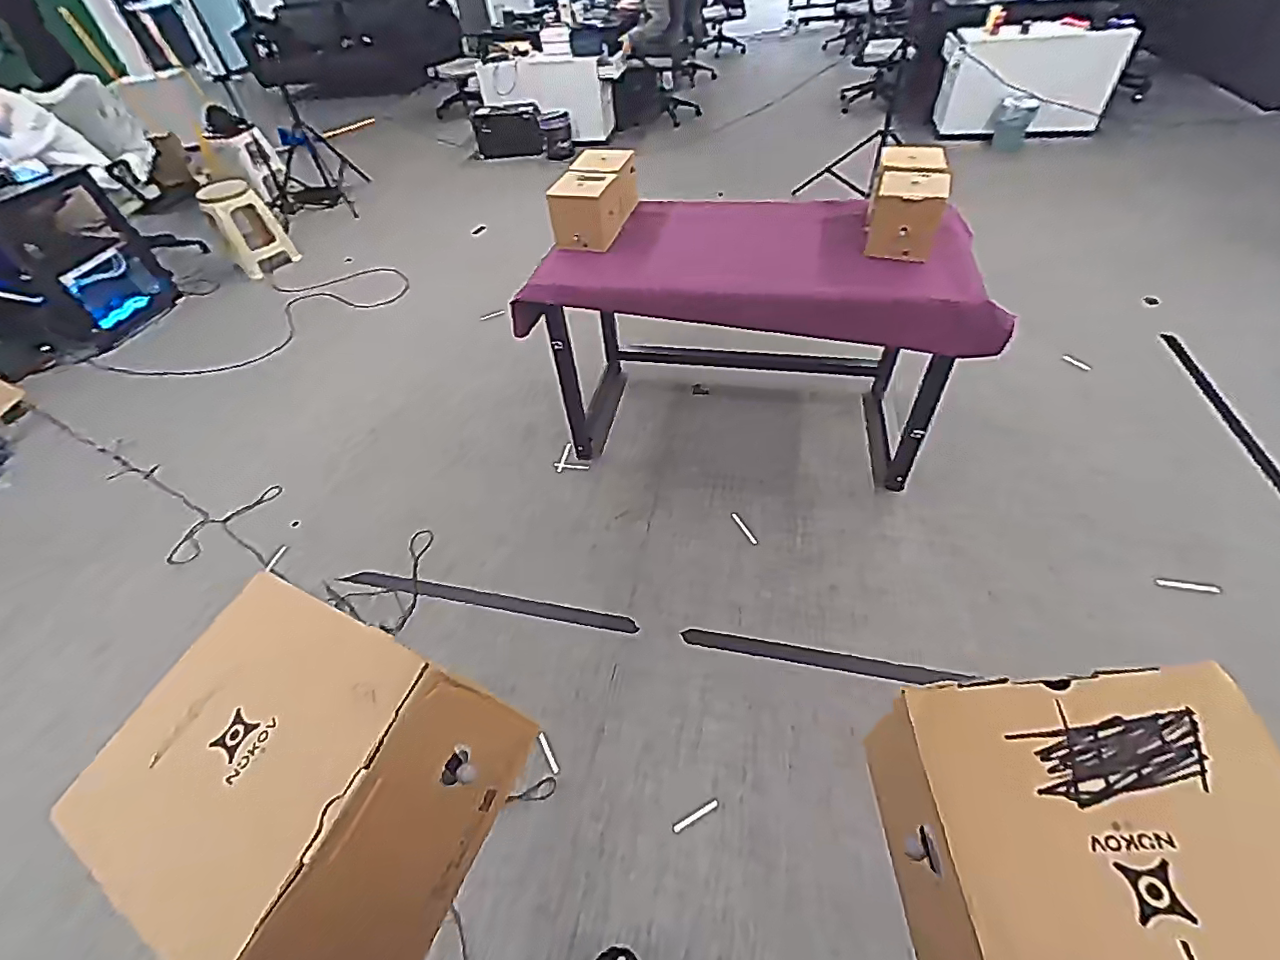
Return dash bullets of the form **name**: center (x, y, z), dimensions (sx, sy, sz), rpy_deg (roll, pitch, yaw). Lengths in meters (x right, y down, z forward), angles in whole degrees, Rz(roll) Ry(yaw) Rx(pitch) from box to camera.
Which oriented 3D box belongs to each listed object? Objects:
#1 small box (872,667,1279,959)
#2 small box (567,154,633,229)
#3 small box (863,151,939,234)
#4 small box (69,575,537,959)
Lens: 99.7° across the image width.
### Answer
- **small box**: center (0.251, 0.226, 0.318), dimensions (0.168, 0.176, 0.179), rpy_deg (-8, 55, 8)
- **small box**: center (-0.125, -0.956, 1.789), dimensions (0.168, 0.176, 0.179), rpy_deg (9, 50, 14)
- **small box**: center (0.770, -0.857, 1.610), dimensions (0.168, 0.176, 0.179), rpy_deg (9, 49, 13)
- **small box**: center (-0.201, 0.195, 0.372), dimensions (0.179, 0.176, 0.168), rpy_deg (14, 59, 27)
